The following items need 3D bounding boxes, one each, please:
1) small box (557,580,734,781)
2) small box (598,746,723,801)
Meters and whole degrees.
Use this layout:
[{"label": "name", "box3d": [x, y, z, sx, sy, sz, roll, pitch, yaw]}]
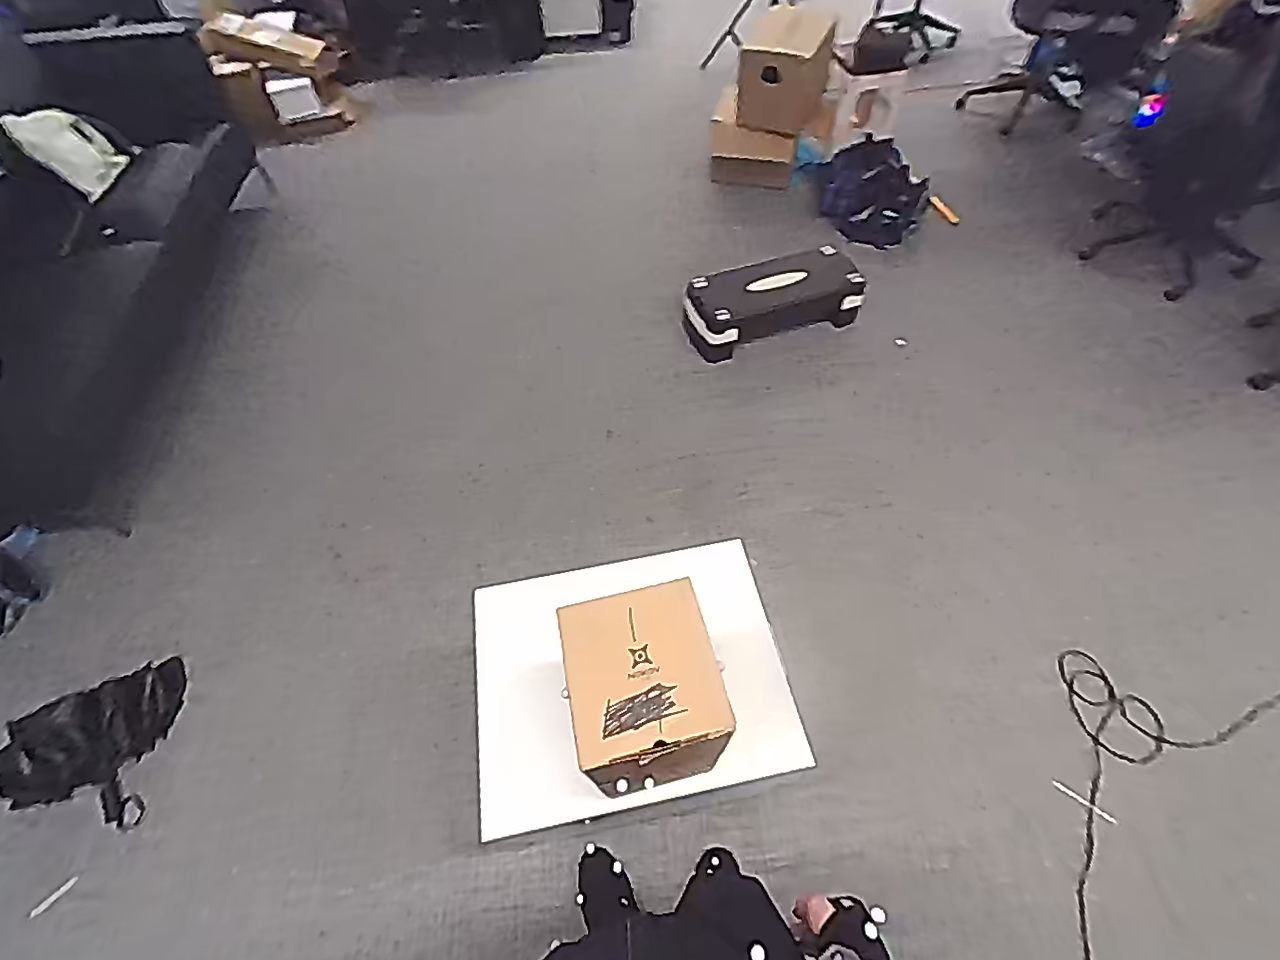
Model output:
[{"label": "small box", "box3d": [0.004, 0.250, 0.657, 0.168, 0.176, 0.179, -12, 54, -7]}, {"label": "small box", "box3d": [0.011, 0.346, 0.792, 0.168, 0.176, 0.179, -14, 56, -6]}]
